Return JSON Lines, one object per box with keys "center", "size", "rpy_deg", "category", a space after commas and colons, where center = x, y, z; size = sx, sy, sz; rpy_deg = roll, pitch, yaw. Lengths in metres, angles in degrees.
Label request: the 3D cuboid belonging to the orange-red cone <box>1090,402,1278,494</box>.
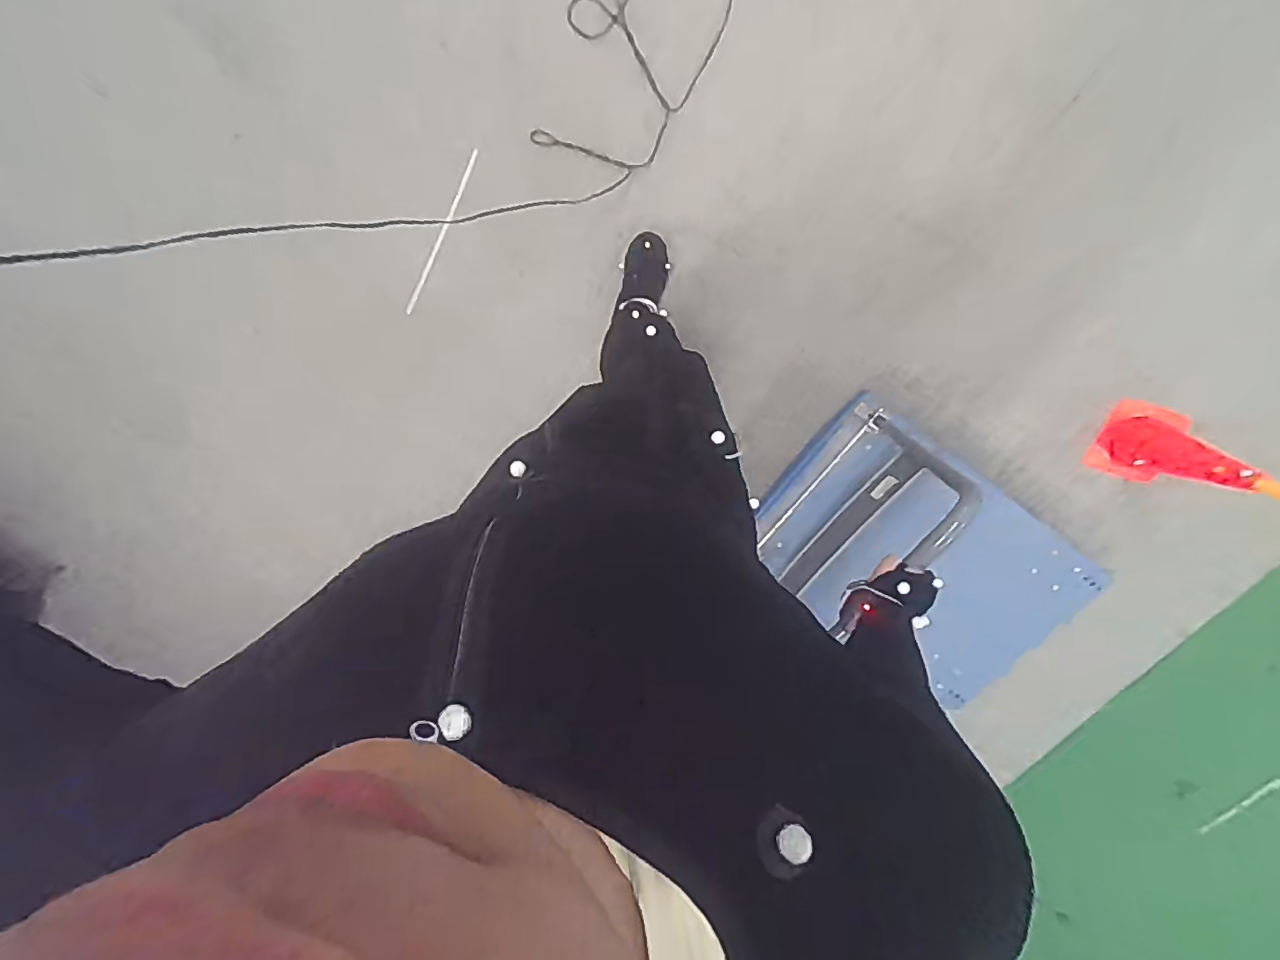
{"center": [1.347, -0.044, 1.312], "size": [0.198, 0.360, 0.199], "rpy_deg": [18, 109, -1], "category": "orange-red cone"}
